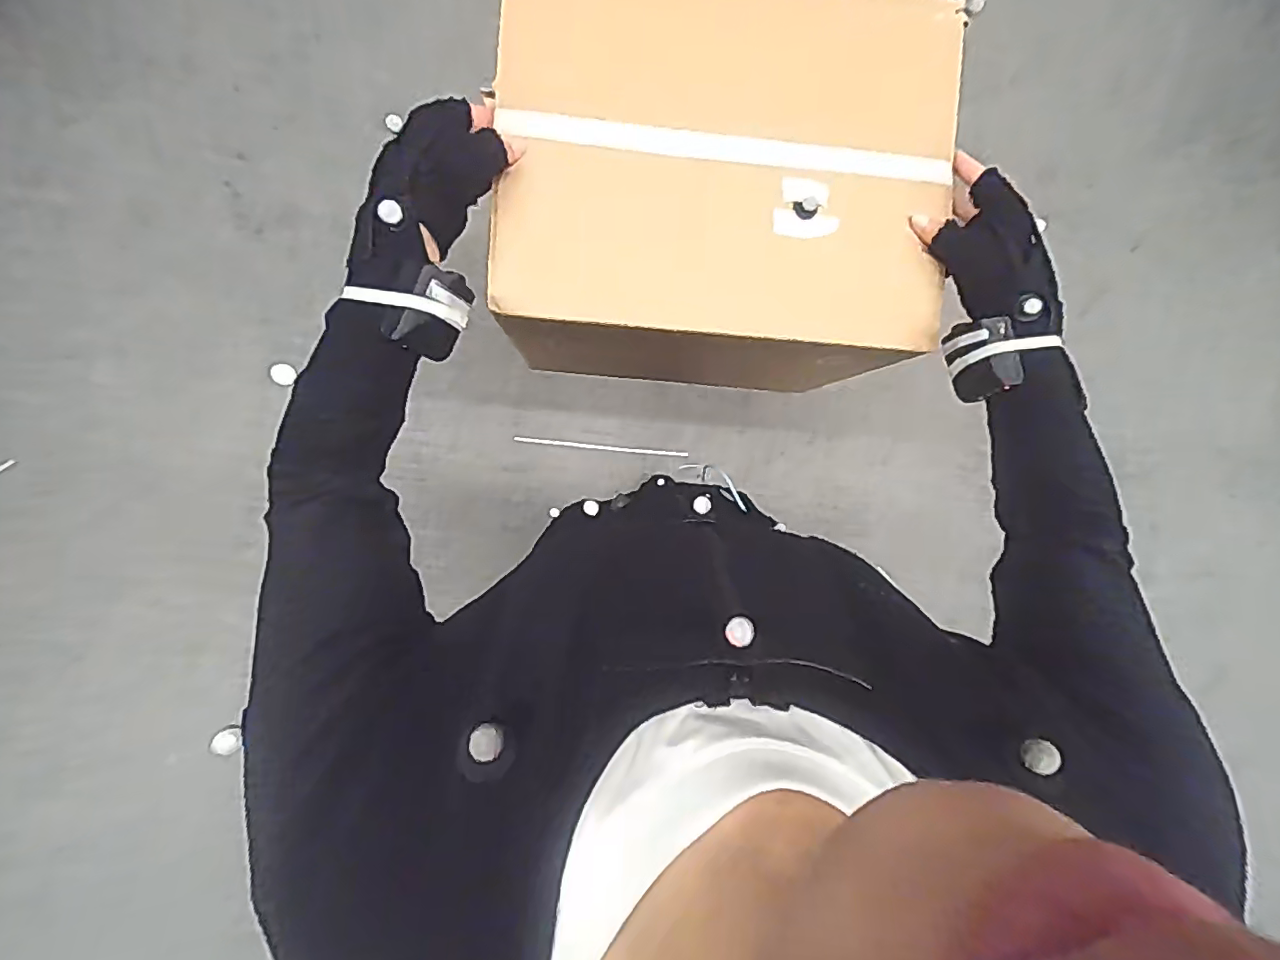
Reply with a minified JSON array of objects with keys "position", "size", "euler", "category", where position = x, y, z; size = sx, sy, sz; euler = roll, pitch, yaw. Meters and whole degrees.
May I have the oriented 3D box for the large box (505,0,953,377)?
[{"position":[0.068,-0.303,0.627],"size":[0.408,0.320,0.320],"euler":[3,93,-6],"category":"large box"}]
